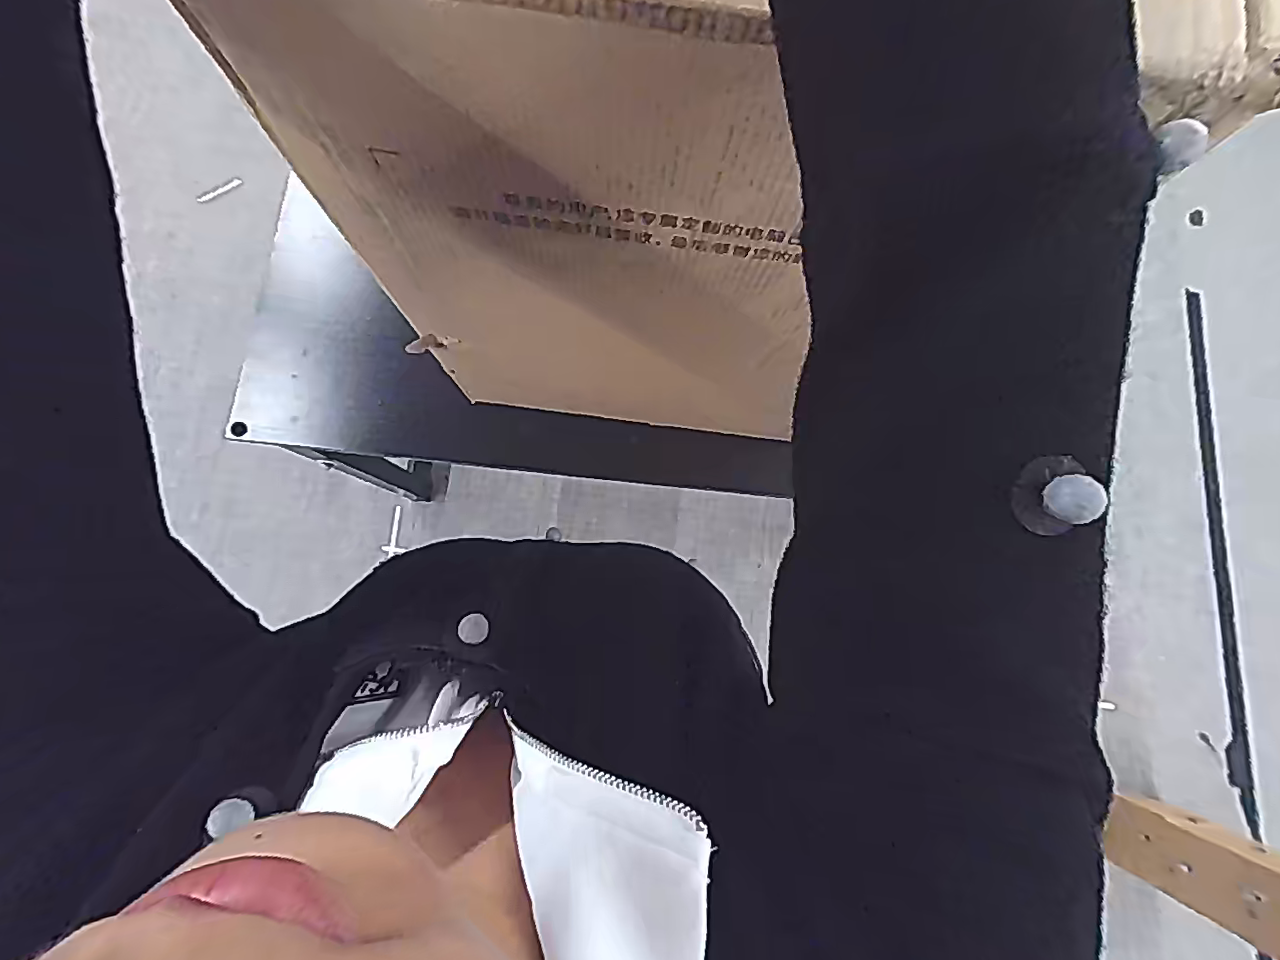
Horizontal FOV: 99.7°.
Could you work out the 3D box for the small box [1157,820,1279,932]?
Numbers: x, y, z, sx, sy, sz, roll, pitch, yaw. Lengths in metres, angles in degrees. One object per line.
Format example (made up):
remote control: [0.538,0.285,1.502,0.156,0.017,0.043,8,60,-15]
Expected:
small box: [1.347,0.908,1.235,0.179,0.176,0.168,10,79,-1]

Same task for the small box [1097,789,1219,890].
small box: [1.333,0.929,1.398,0.168,0.176,0.179,10,80,-2]

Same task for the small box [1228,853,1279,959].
small box: [1.344,0.878,1.075,0.179,0.176,0.168,10,79,-1]
